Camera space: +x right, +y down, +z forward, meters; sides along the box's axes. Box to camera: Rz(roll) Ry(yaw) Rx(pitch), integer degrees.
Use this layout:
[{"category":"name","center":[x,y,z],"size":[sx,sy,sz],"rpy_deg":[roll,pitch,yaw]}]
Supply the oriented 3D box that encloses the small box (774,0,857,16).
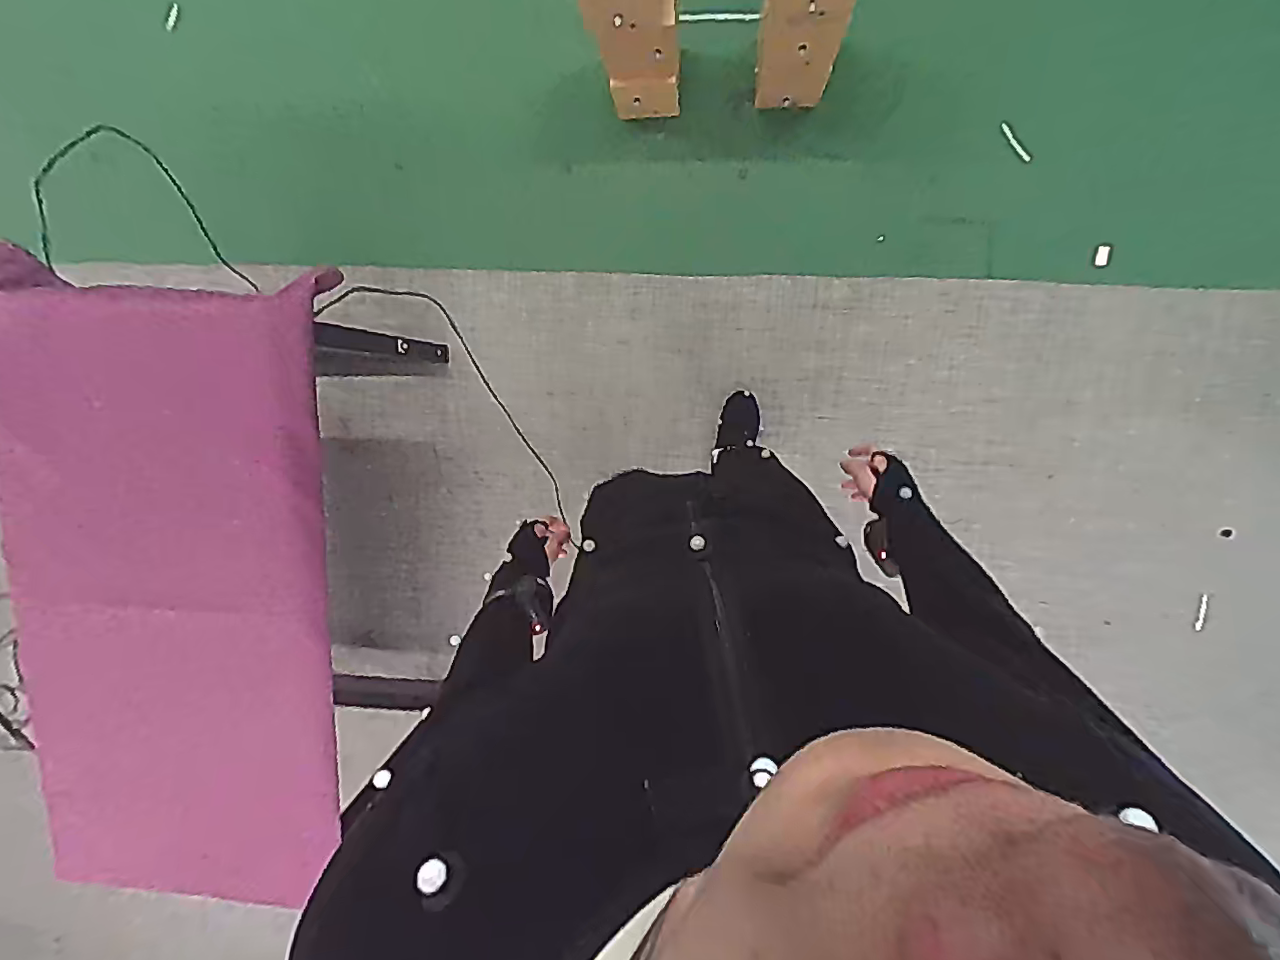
[{"category":"small box","center":[0.350,-1.026,1.014],"size":[0.168,0.176,0.179],"rpy_deg":[5,100,6]}]

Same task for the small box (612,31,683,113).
[{"category":"small box","center":[0.023,-1.069,1.381],"size":[0.168,0.176,0.179],"rpy_deg":[1,98,7]}]

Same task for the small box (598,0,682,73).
[{"category":"small box","center":[0.005,-1.060,1.220],"size":[0.179,0.176,0.168],"rpy_deg":[1,98,7]}]

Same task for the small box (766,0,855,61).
[{"category":"small box","center":[0.372,-1.051,1.176],"size":[0.168,0.176,0.179],"rpy_deg":[4,101,5]}]

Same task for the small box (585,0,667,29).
[{"category":"small box","center":[-0.031,-1.039,1.060],"size":[0.168,0.176,0.179],"rpy_deg":[5,98,6]}]
